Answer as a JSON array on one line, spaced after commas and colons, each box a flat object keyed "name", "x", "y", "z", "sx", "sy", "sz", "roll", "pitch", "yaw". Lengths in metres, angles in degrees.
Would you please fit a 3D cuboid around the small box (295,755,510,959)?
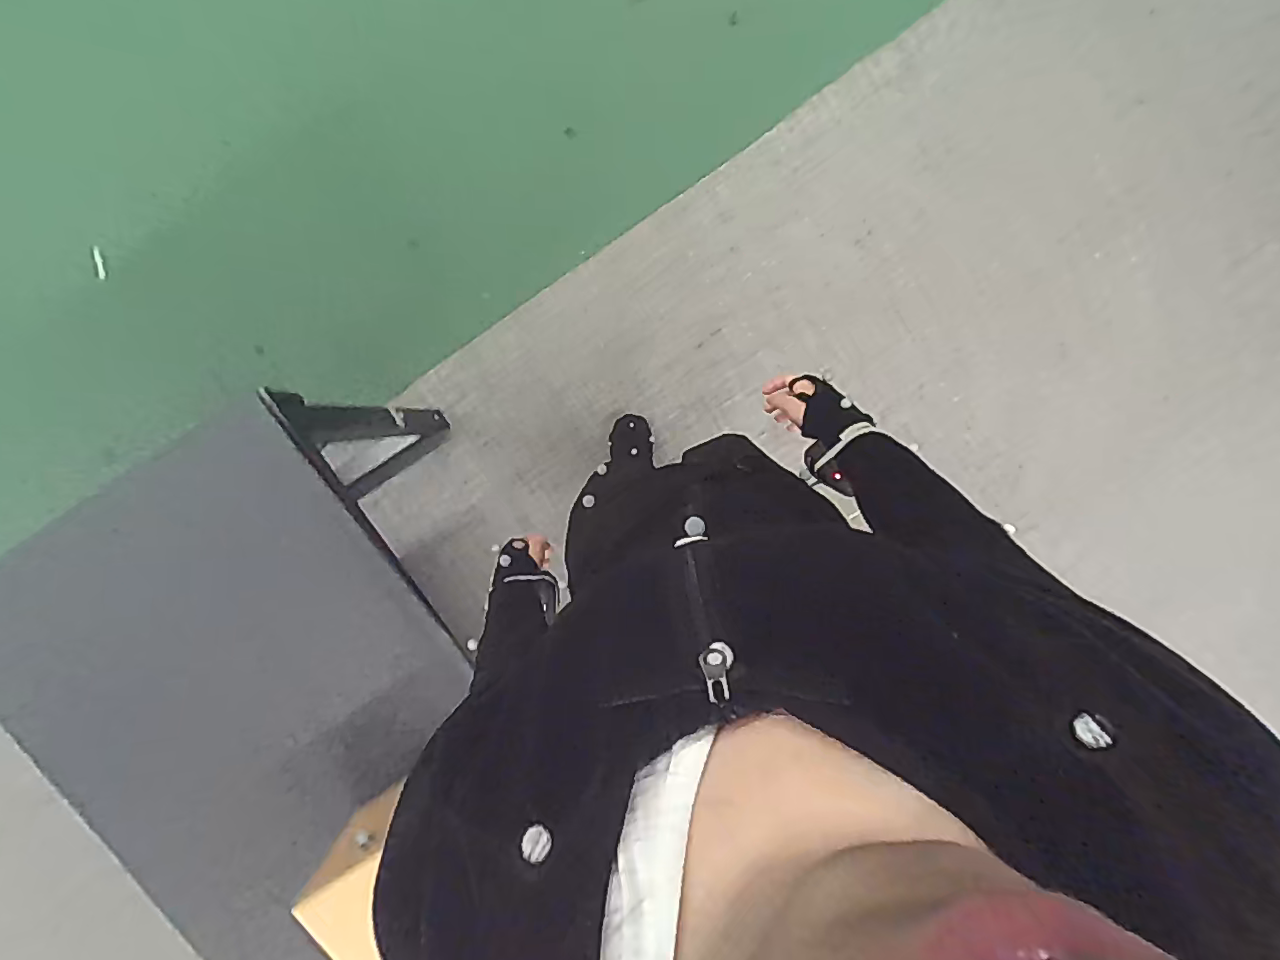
[{"name": "small box", "x": -0.301, "y": 0.522, "z": 0.731, "sx": 0.179, "sy": 0.176, "sz": 0.168, "roll": -35, "pitch": 97, "yaw": 2}]

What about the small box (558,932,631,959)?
[{"name": "small box", "x": -0.077, "y": 0.819, "z": 0.772, "sx": 0.179, "sy": 0.176, "sz": 0.168, "roll": -35, "pitch": 97, "yaw": 2}]
